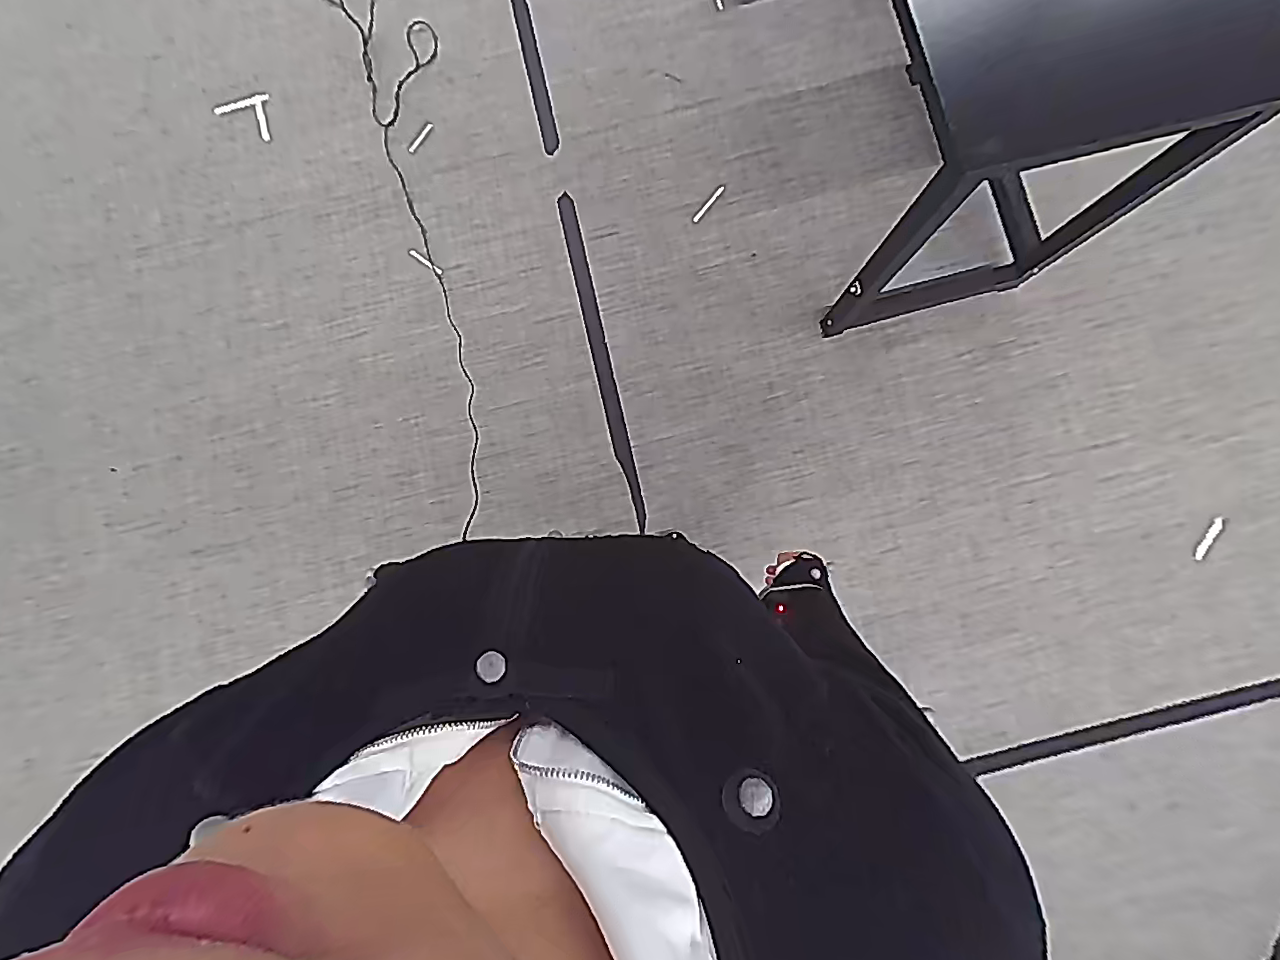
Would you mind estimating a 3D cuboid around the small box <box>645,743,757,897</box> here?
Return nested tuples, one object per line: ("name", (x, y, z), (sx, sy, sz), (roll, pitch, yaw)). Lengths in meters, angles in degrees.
("small box", (0.113, 0.642, 1.040), (0.168, 0.176, 0.179), (-16, 83, 1))
